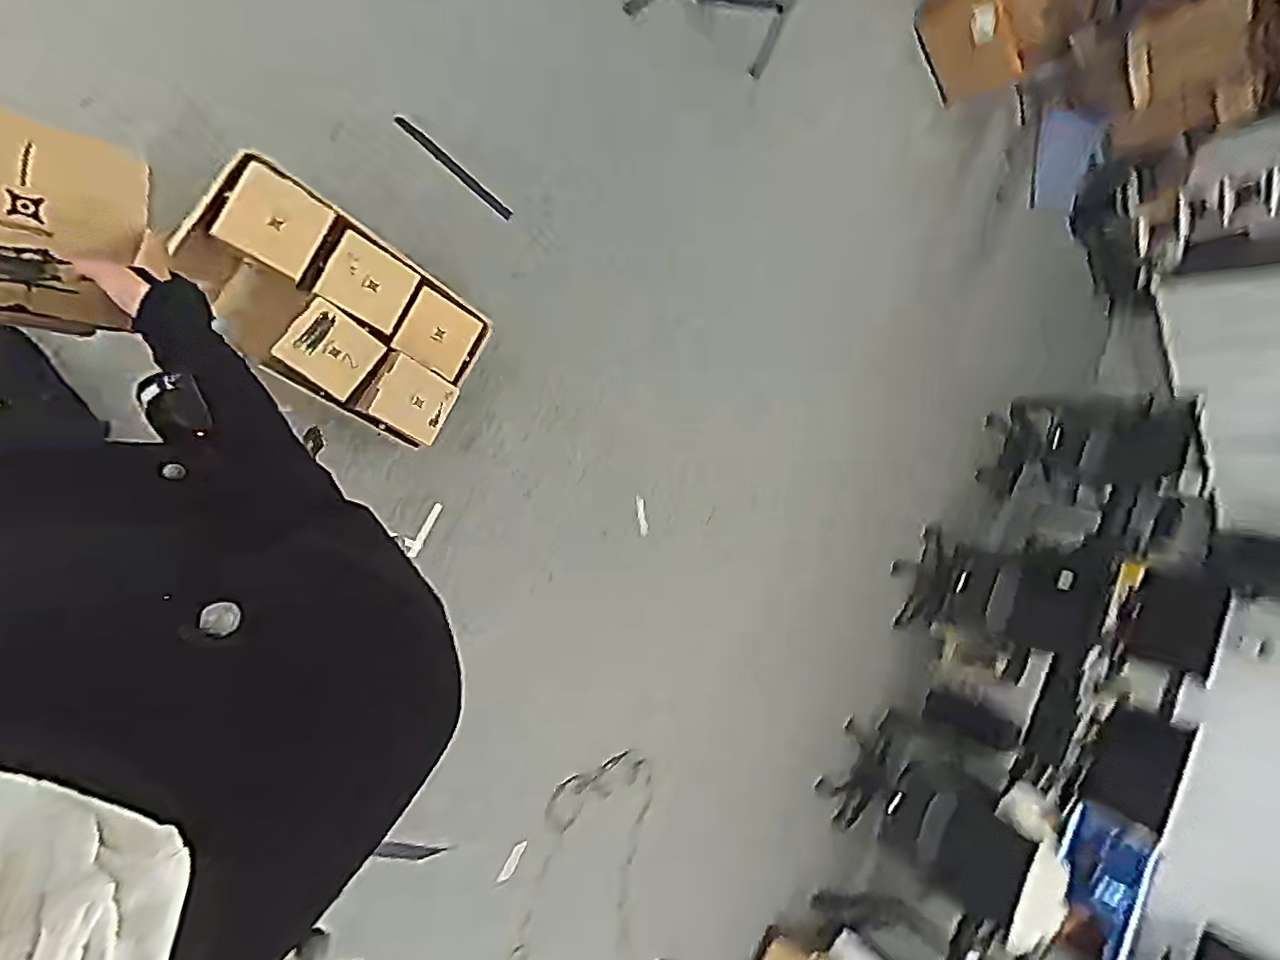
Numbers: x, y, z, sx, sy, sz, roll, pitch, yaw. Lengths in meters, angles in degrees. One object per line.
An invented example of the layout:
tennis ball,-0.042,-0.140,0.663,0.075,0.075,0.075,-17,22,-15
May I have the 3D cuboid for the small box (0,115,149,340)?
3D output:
small box,-0.618,-0.248,0.537,0.168,0.176,0.179,0,103,-52
